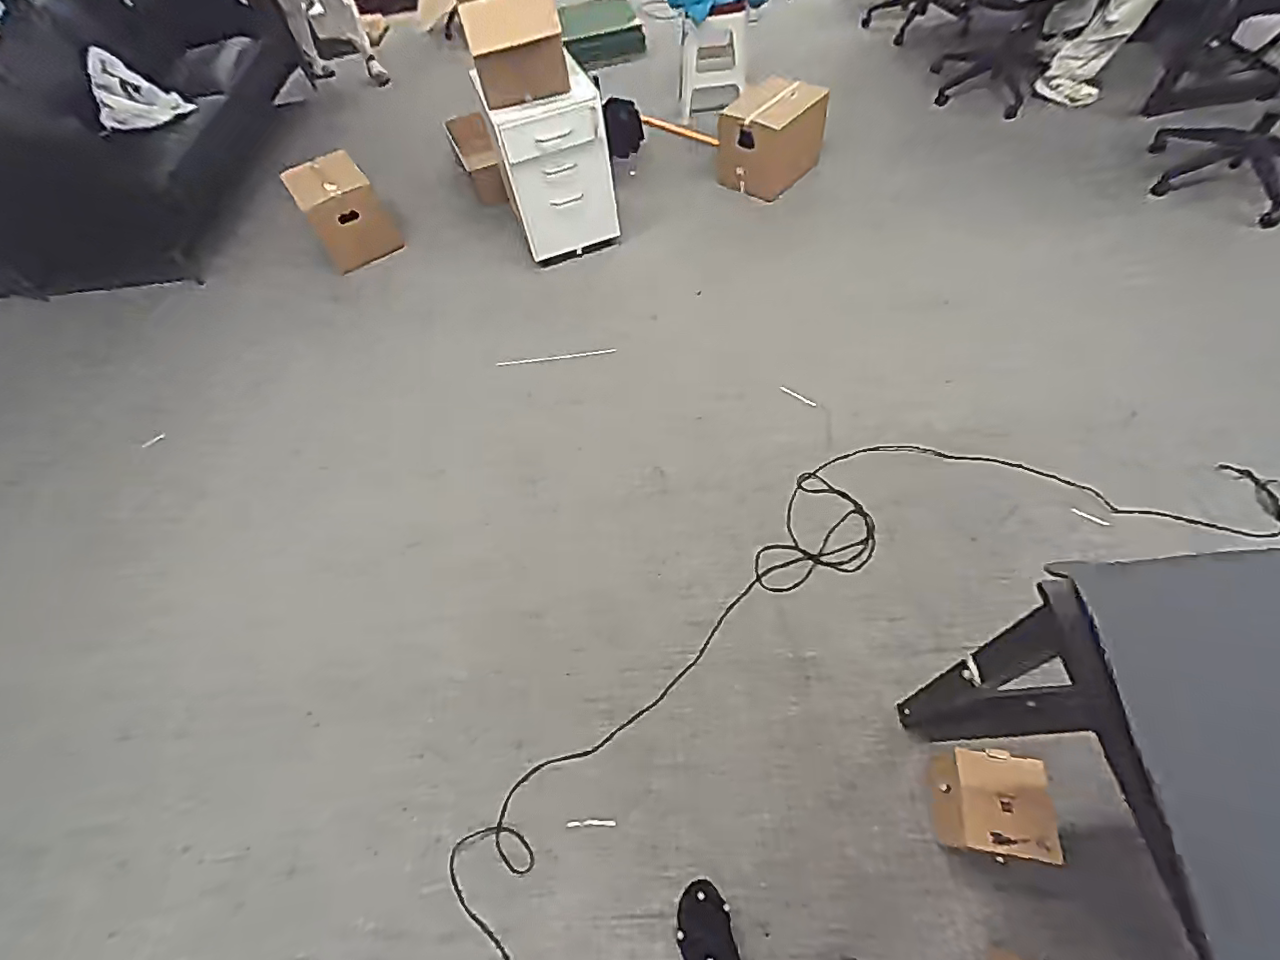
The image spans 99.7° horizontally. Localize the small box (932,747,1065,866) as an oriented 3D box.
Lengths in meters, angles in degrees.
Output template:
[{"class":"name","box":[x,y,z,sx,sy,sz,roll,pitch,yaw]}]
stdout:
[{"class":"small box","box":[0.719,0.671,1.111,0.168,0.176,0.179,5,57,11]}]
